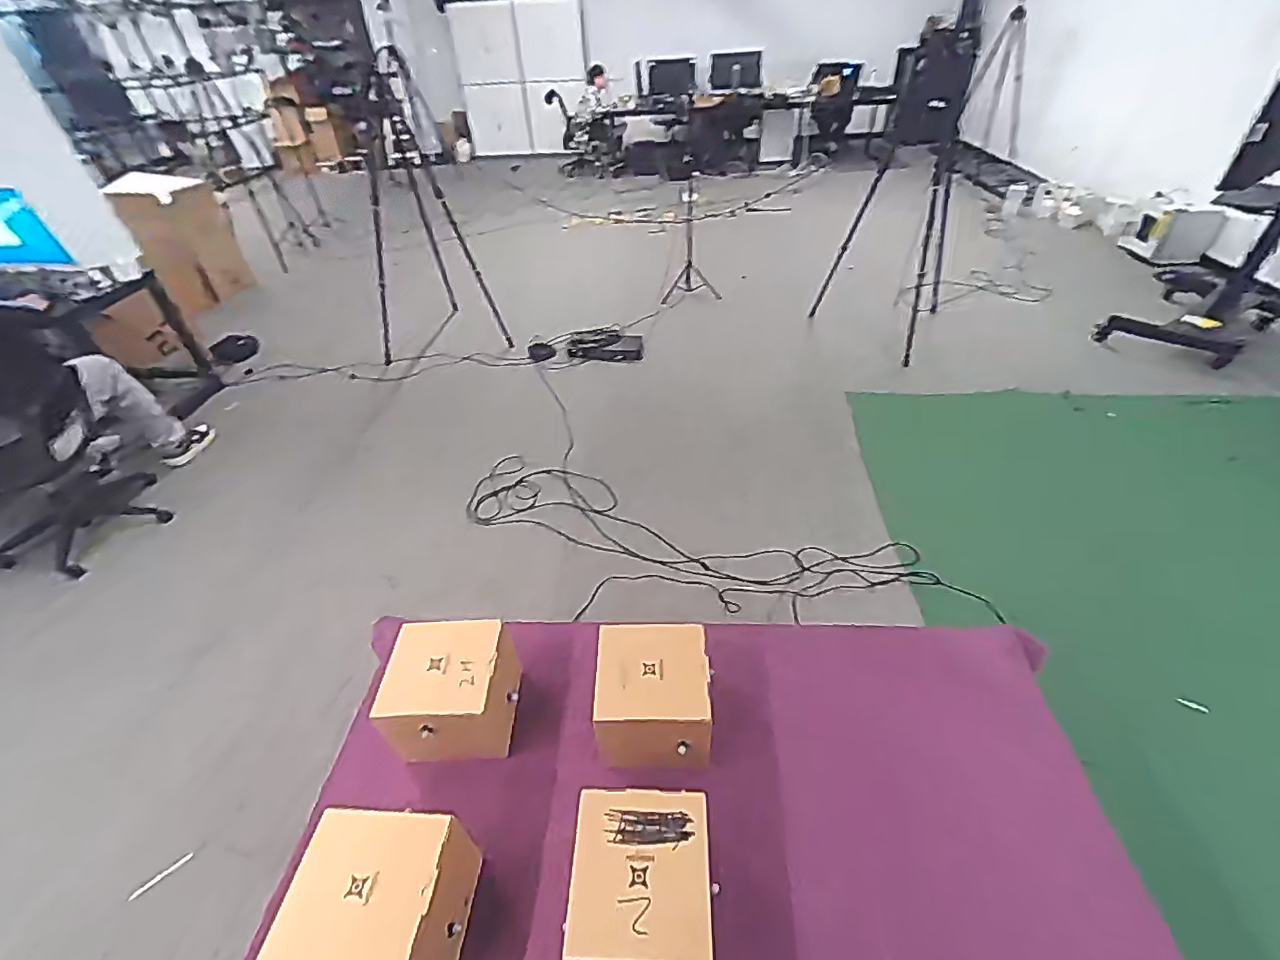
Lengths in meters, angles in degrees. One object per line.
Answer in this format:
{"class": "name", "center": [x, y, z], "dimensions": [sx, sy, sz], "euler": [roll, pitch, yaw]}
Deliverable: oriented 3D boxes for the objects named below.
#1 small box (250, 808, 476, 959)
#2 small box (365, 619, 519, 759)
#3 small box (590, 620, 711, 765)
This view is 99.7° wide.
{"class": "small box", "center": [-0.331, 0.543, 0.688], "dimensions": [0.179, 0.176, 0.168], "euler": [1, 40, 4]}
{"class": "small box", "center": [-0.317, 0.351, 0.906], "dimensions": [0.179, 0.176, 0.168], "euler": [-2, 42, 2]}
{"class": "small box", "center": [0.021, 0.348, 0.885], "dimensions": [0.179, 0.176, 0.168], "euler": [-2, 41, 4]}
